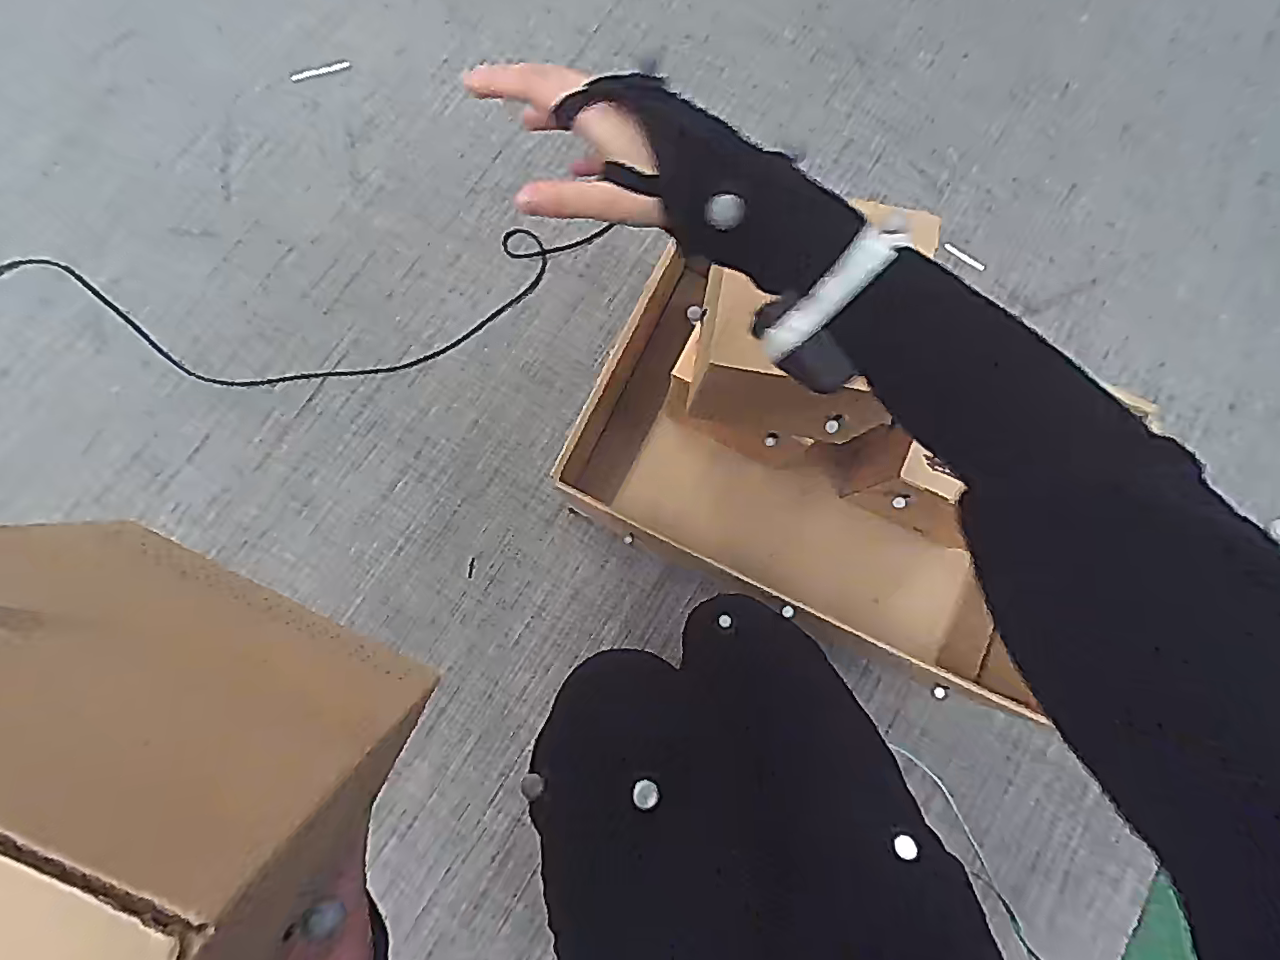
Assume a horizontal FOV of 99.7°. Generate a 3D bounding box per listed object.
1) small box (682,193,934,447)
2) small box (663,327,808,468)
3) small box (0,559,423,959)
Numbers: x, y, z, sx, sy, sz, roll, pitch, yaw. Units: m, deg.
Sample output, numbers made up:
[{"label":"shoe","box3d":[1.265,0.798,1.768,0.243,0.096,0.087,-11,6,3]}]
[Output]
[{"label":"small box","box3d":[0.145,-0.135,0.520,0.179,0.176,0.168,10,81,0]},{"label":"small box","box3d":[0.140,-0.128,0.684,0.179,0.176,0.168,26,82,1]},{"label":"small box","box3d":[-0.214,0.138,0.188,0.179,0.176,0.168,28,87,-3]}]
